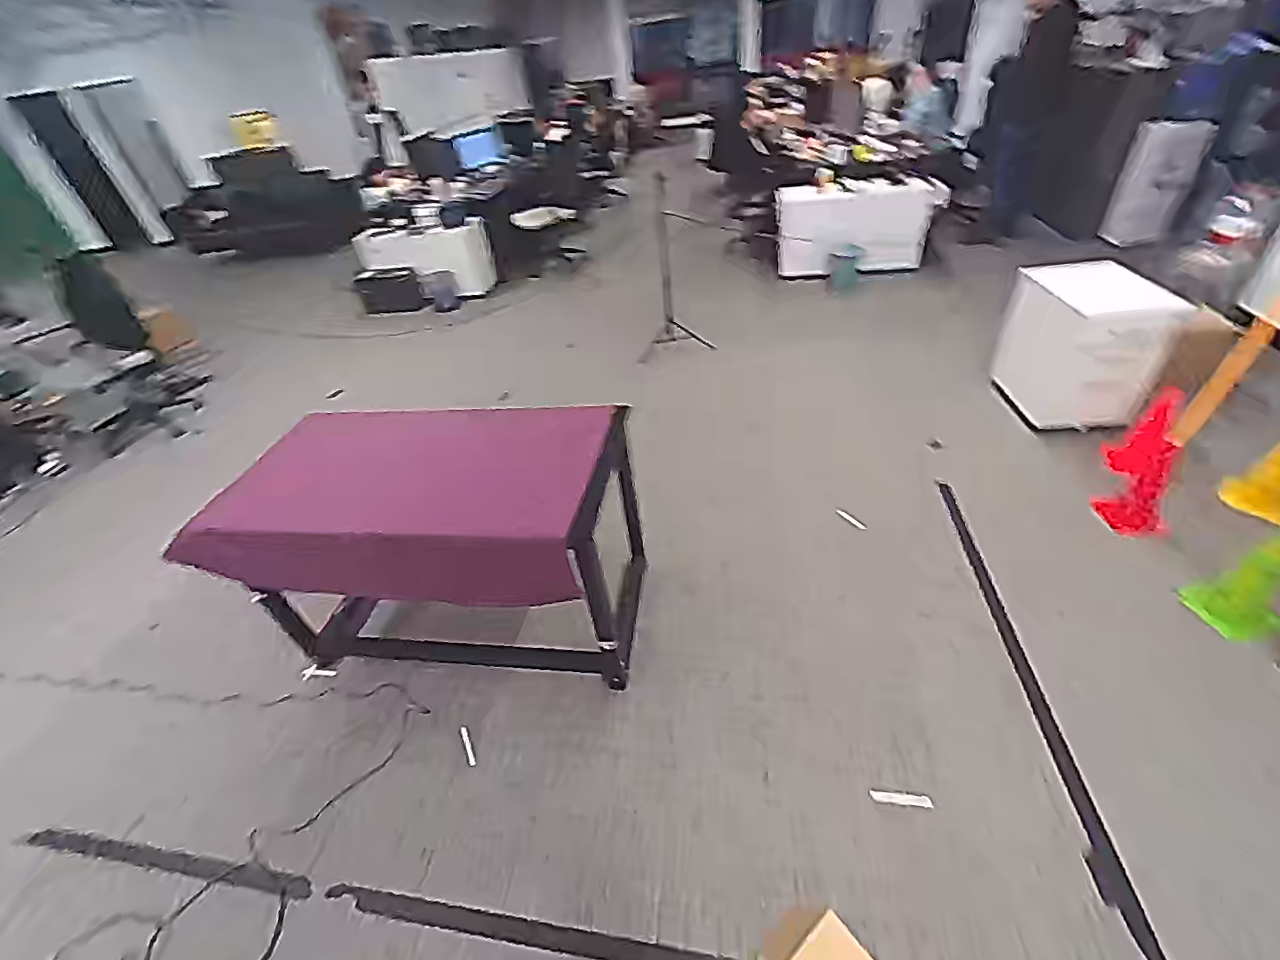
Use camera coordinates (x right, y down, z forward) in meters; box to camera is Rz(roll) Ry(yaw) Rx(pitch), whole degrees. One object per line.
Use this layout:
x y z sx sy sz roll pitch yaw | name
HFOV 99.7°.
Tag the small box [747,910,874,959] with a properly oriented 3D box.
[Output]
0.167 0.552 0.513 0.179 0.176 0.168 -34 59 -23 | small box
